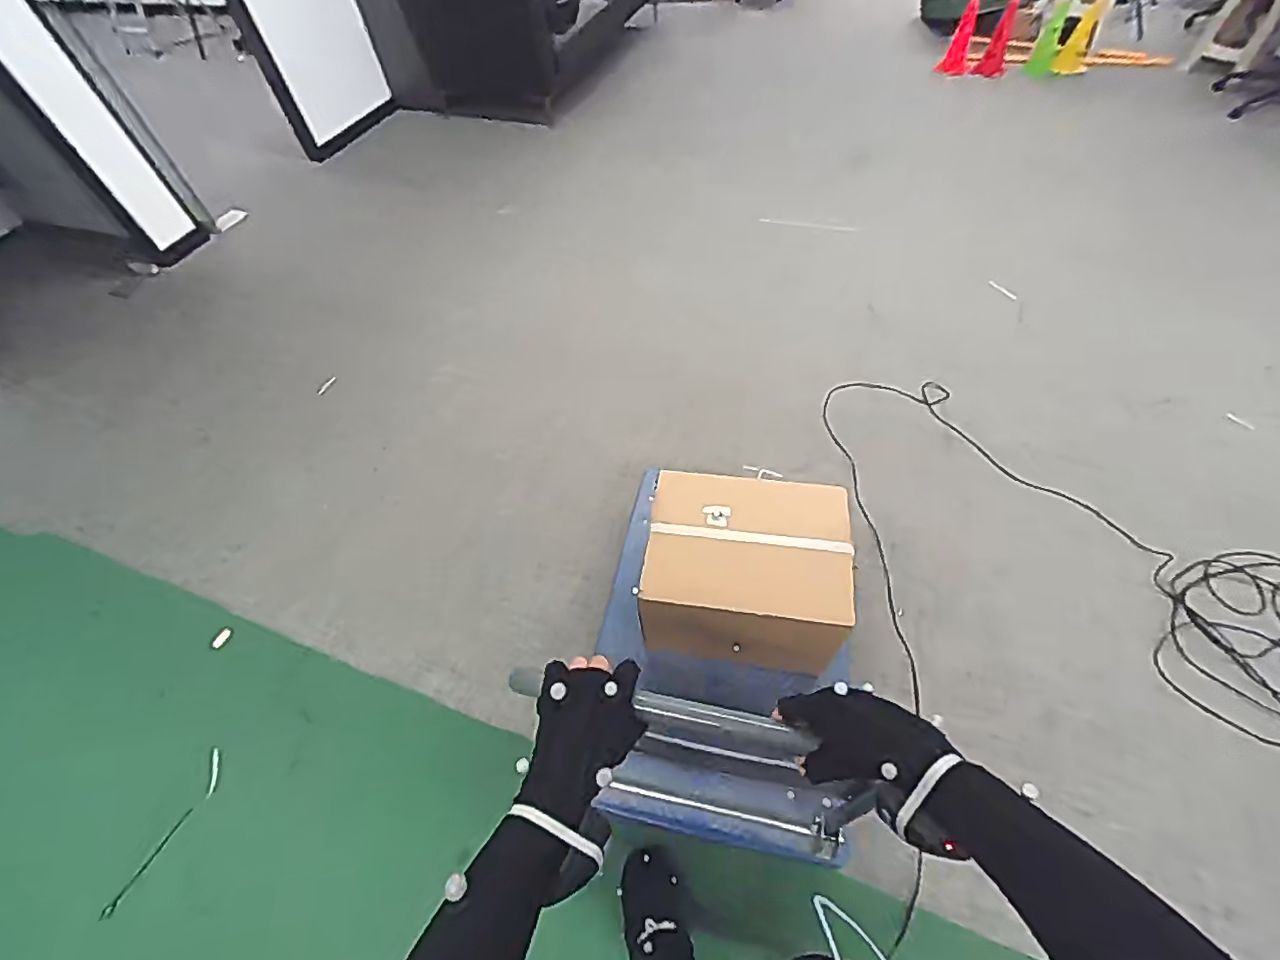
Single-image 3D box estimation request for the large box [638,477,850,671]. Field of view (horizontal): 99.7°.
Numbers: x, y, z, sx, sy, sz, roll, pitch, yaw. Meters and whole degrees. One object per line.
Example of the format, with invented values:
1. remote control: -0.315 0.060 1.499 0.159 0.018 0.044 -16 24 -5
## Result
1. large box: 0.225 0.217 1.221 0.408 0.320 0.320 5 54 9
